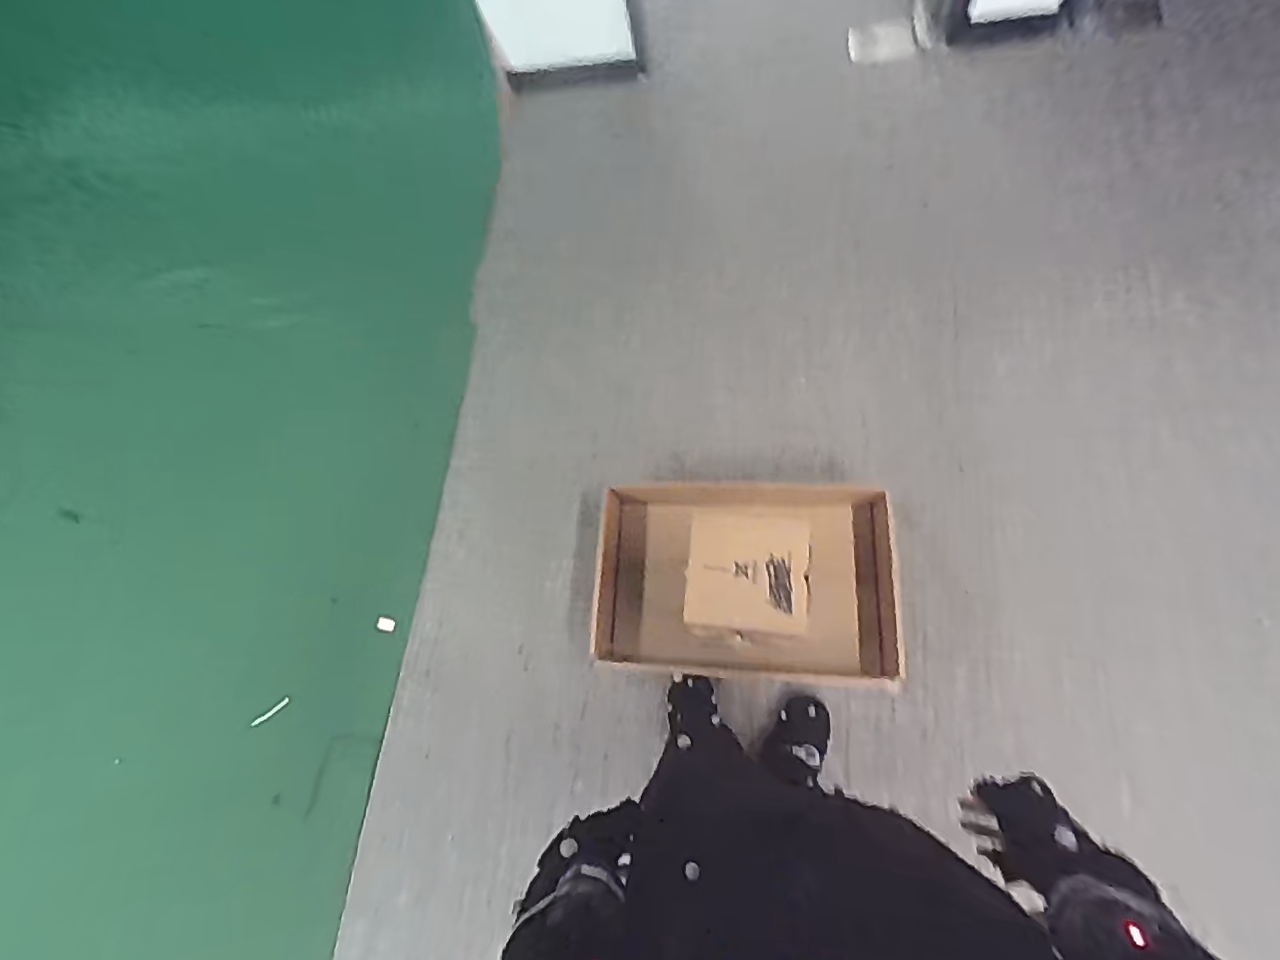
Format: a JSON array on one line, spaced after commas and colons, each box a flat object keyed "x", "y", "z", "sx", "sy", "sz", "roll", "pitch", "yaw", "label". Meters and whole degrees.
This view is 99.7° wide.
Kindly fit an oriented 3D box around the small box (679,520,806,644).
[{"x": 0.164, "y": 0.171, "z": 0.873, "sx": 0.179, "sy": 0.176, "sz": 0.168, "roll": 4, "pitch": 72, "yaw": 11, "label": "small box"}]

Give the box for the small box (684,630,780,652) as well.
[{"x": 0.179, "y": 0.220, "z": 1.013, "sx": 0.168, "sy": 0.176, "sz": 0.179, "roll": 4, "pitch": 74, "yaw": 11, "label": "small box"}]
